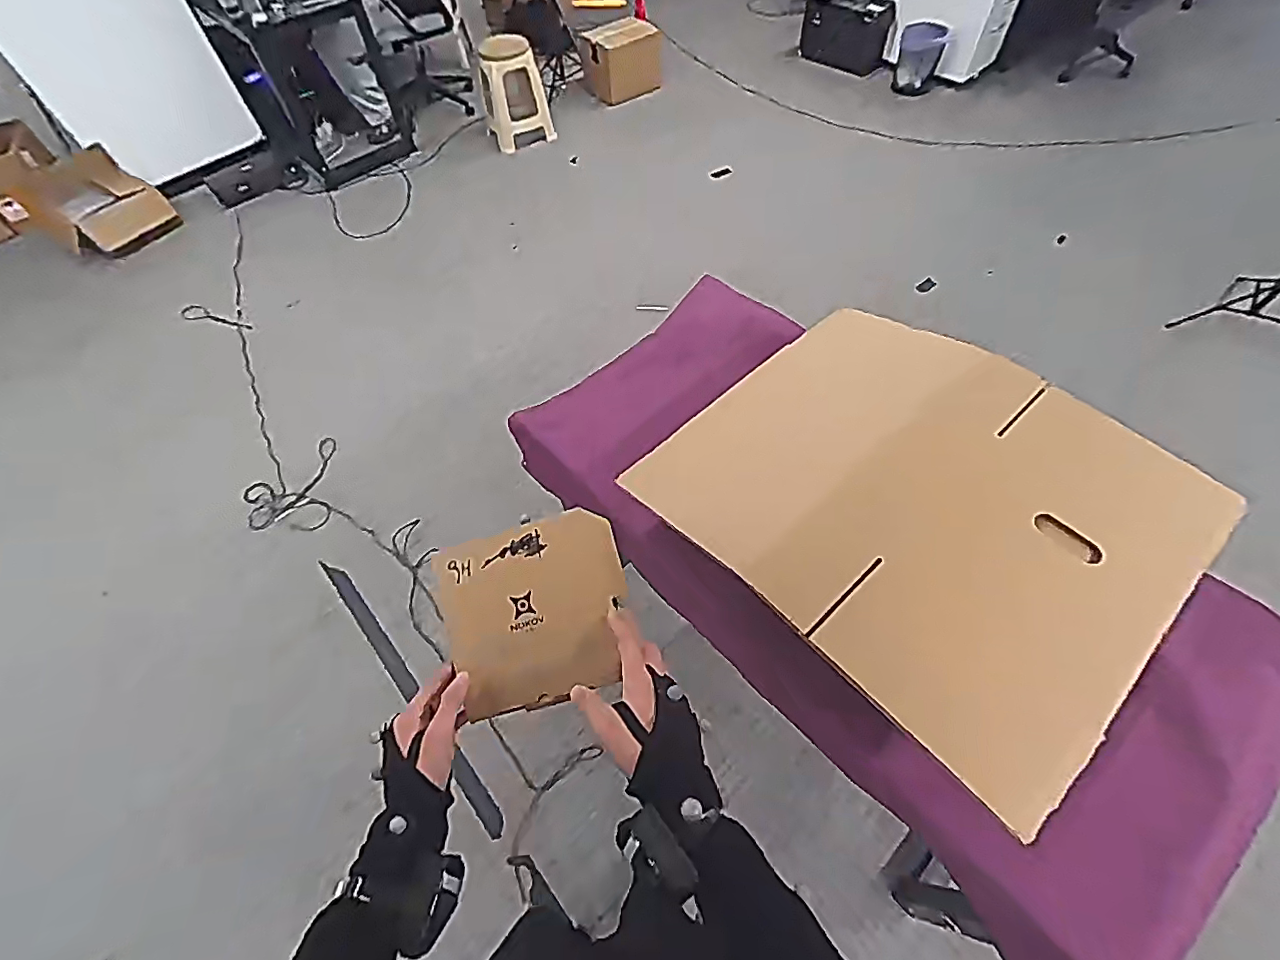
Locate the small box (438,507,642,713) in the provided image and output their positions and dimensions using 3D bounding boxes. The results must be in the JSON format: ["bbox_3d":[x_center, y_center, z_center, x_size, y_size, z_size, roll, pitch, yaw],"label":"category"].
[{"bbox_3d":[-0.102,0.139,0.623,0.168,0.176,0.179,-16,81,4],"label":"small box"}]
